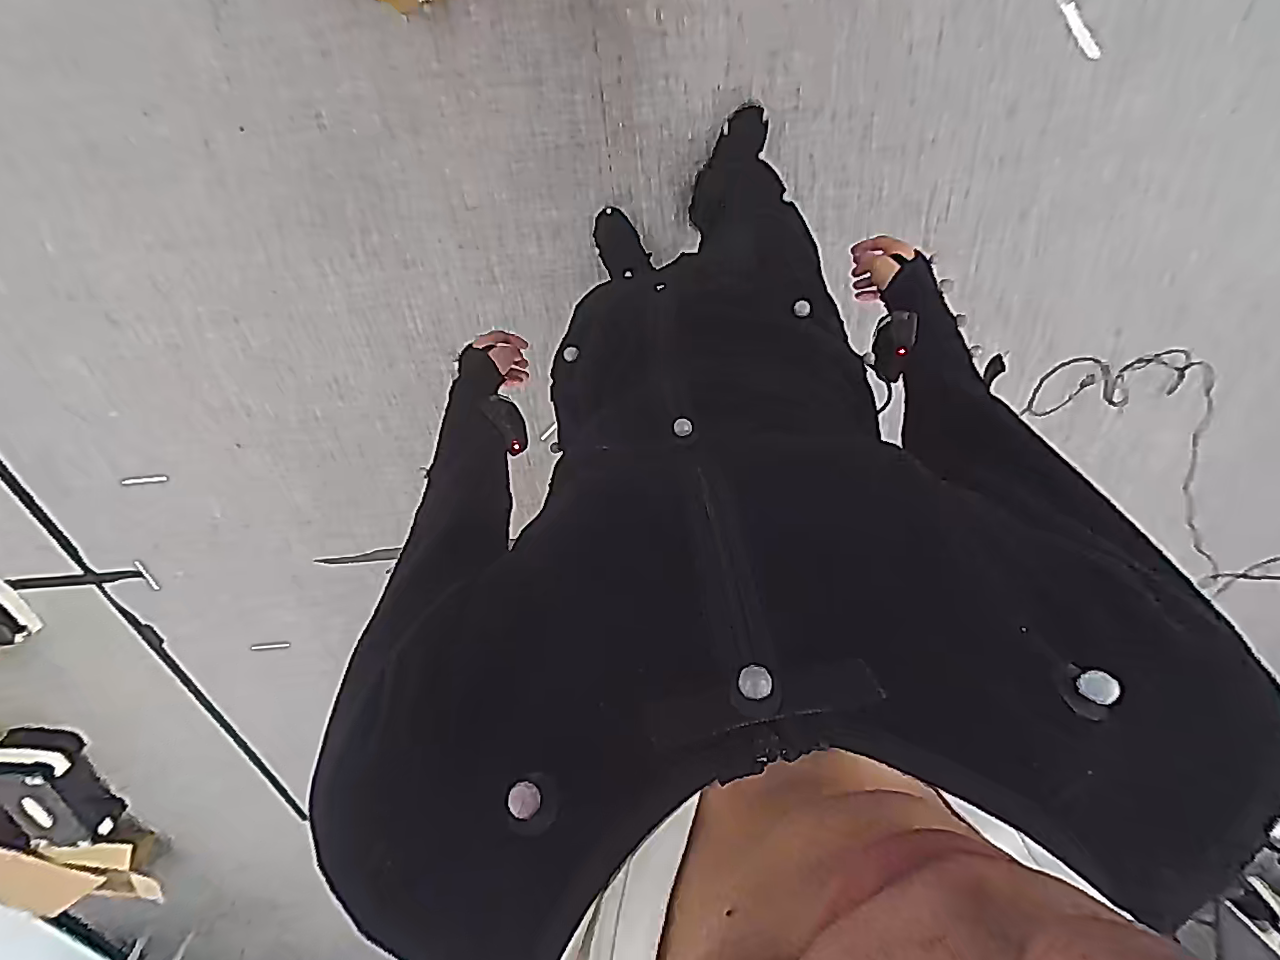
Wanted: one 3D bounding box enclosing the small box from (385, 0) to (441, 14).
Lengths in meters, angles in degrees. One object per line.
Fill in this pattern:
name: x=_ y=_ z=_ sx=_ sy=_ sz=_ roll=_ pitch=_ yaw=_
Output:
small box: x=-0.458 y=-1.043 z=1.036 sx=0.168 sy=0.176 sz=0.179 roll=-15 pitch=121 yaw=8
